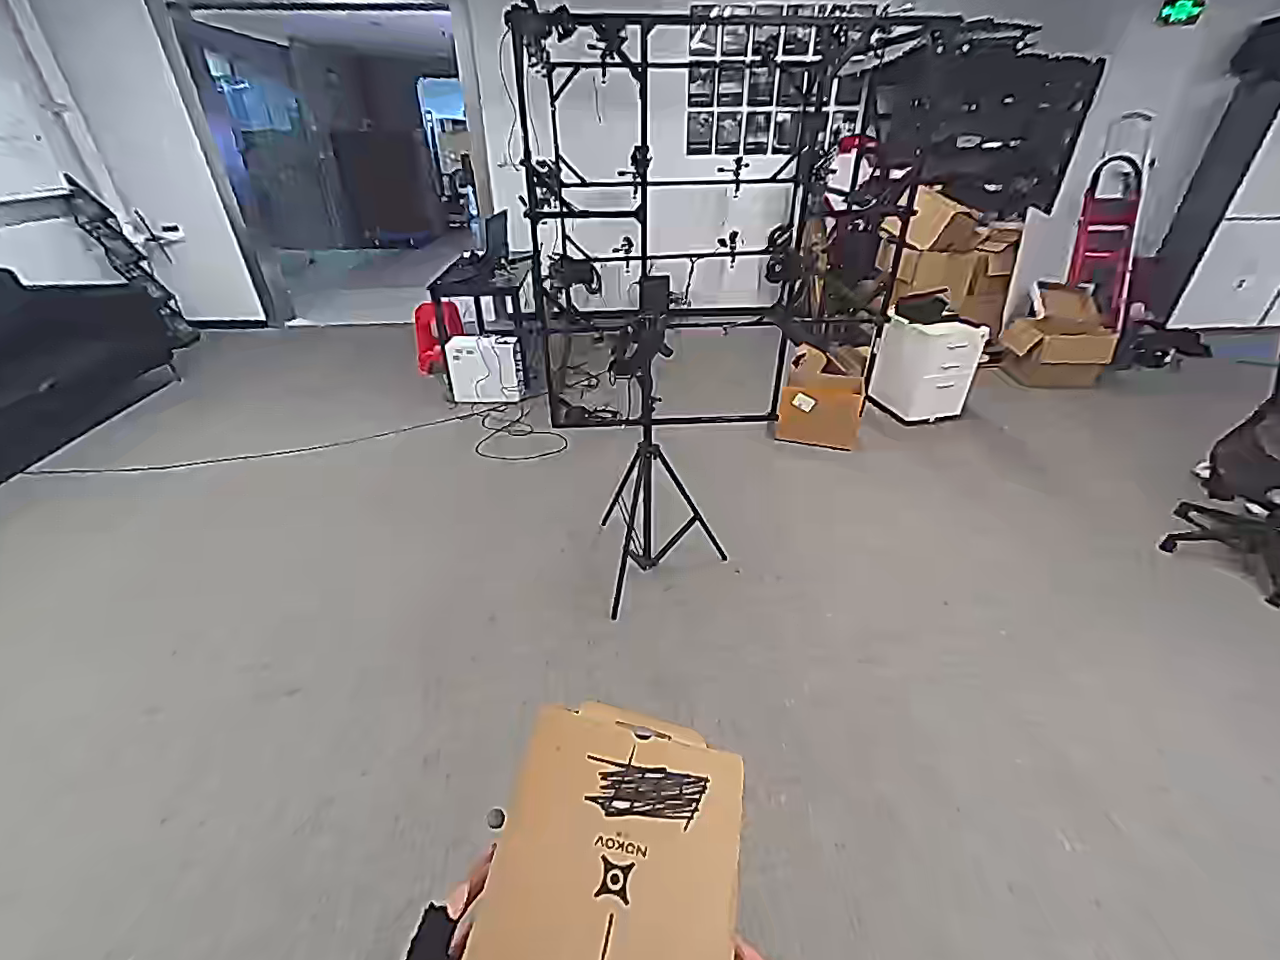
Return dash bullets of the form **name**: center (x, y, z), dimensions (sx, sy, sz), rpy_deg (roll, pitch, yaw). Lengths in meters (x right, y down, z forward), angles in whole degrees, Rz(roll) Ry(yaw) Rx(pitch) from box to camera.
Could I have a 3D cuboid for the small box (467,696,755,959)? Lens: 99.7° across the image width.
- **small box**: center (-0.023, 0.296, 0.410), dimensions (0.168, 0.176, 0.179), rpy_deg (16, 49, -1)
